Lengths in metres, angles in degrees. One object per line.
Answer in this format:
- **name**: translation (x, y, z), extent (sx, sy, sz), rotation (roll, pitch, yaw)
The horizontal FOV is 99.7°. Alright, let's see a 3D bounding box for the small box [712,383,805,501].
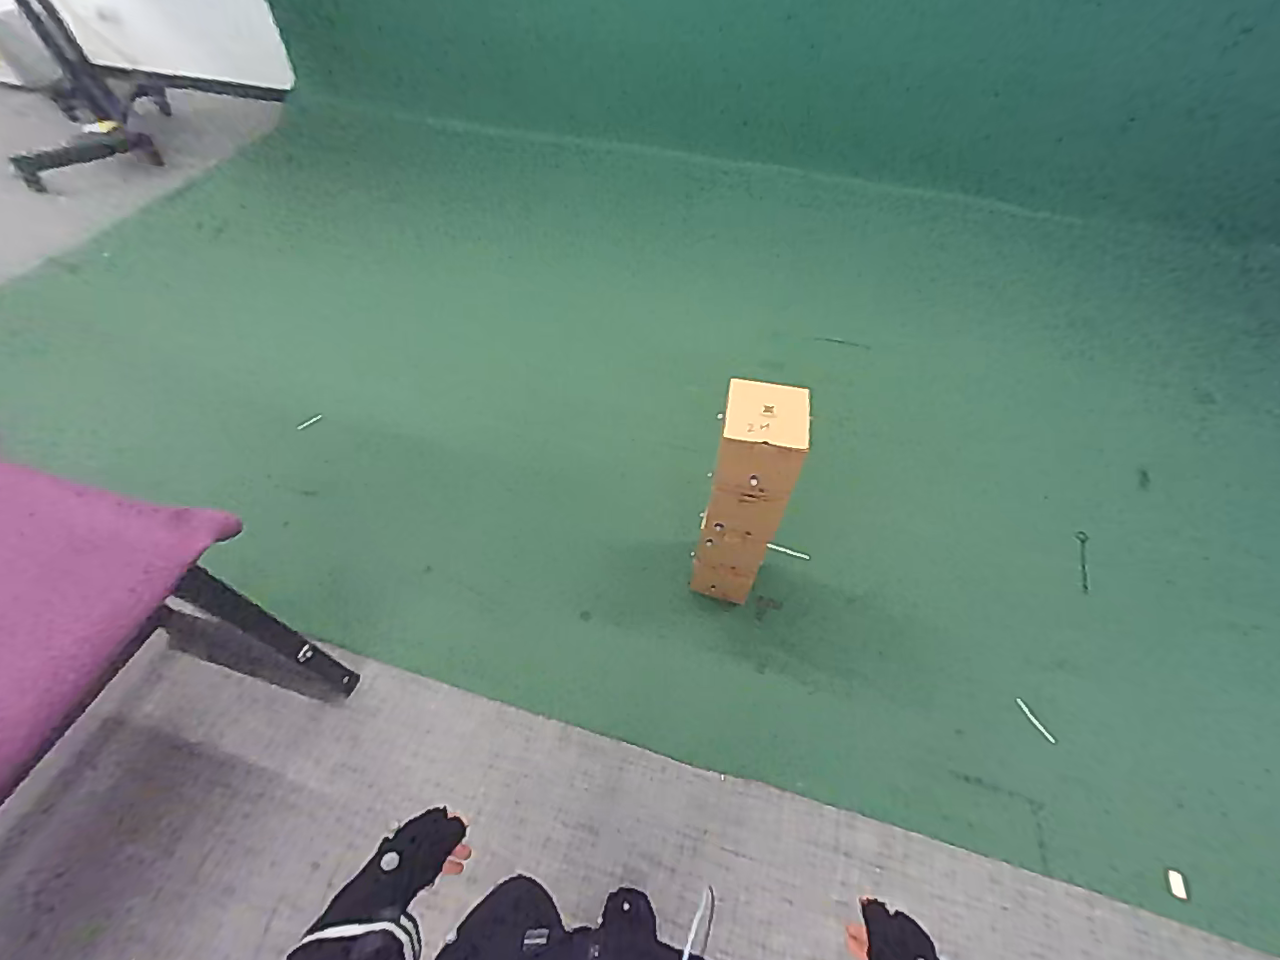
- **small box**: translation (0.252, -0.080, 1.166), extent (0.168, 0.176, 0.179), rotation (9, 54, 6)

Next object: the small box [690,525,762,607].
- **small box**: translation (0.244, 0.234, 1.547), extent (0.168, 0.176, 0.179), rotation (14, 55, 10)

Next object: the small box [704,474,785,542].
- **small box**: translation (0.251, 0.027, 1.291), extent (0.168, 0.176, 0.179), rotation (10, 53, 6)
